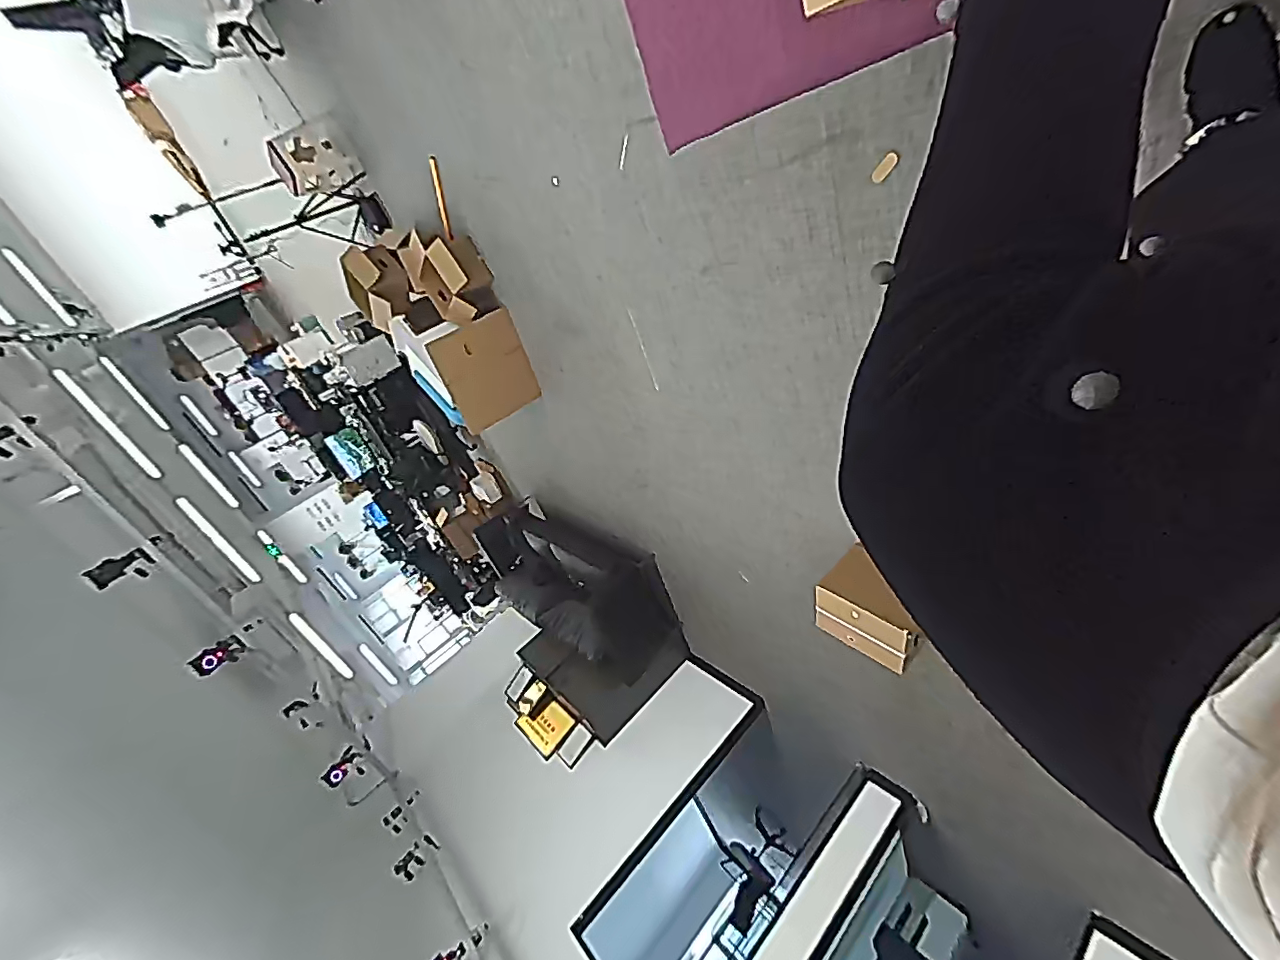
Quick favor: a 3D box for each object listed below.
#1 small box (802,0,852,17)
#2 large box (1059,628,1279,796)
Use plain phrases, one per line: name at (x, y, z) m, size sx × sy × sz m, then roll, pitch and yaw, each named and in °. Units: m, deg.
small box at (0.274, -0.638, 0.566) m, size 0.168 × 0.176 × 0.179 m, roll 19°, pitch 139°, yaw 47°
large box at (1.606, 0.669, 1.627) m, size 0.320 × 0.320 × 0.408 m, roll 51°, pitch 153°, yaw -1°
